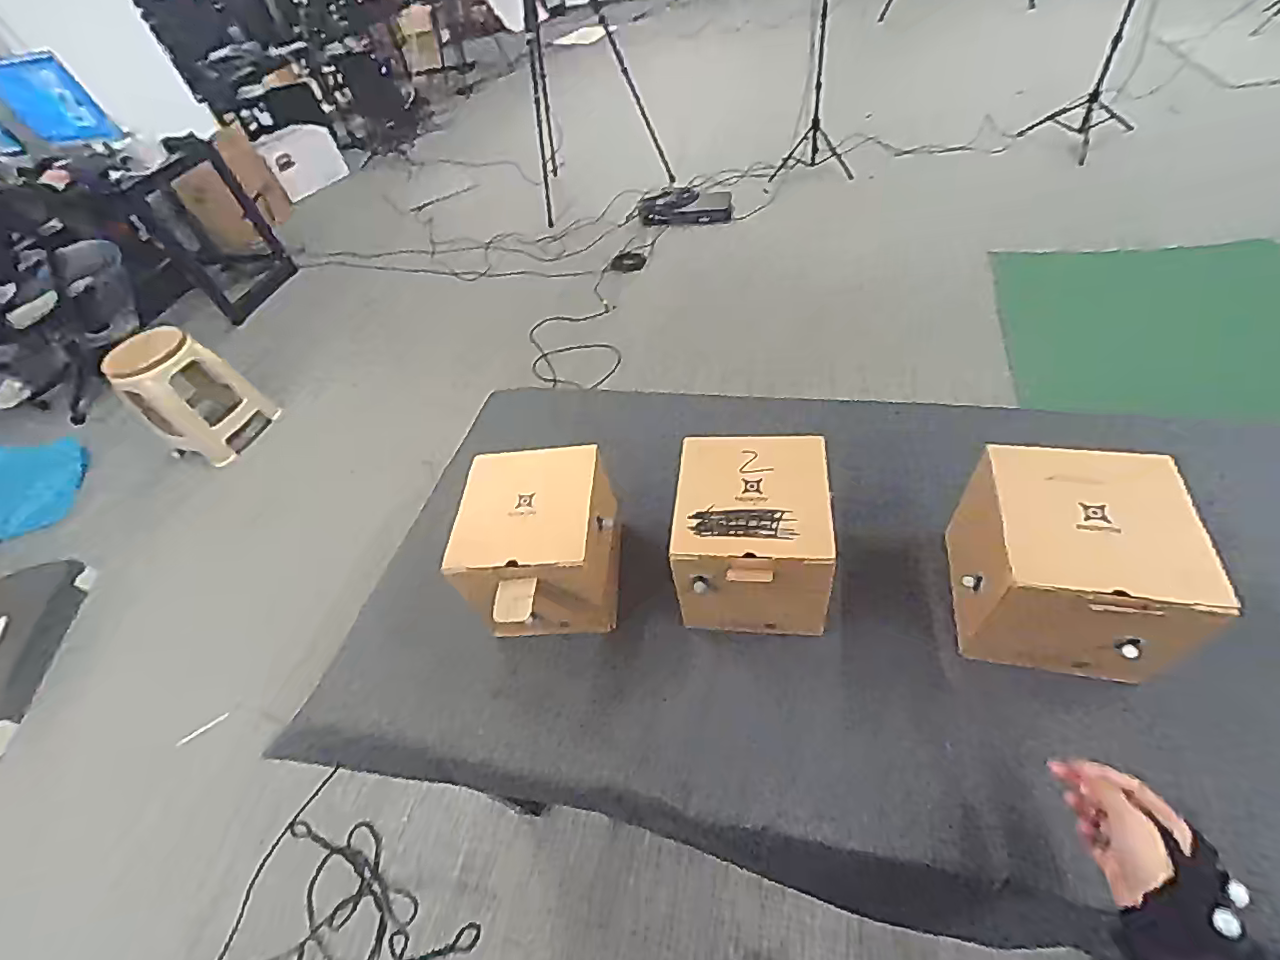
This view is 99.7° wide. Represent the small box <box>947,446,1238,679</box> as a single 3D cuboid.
[{"bbox_3d":[0.443,0.088,0.571,0.168,0.176,0.179,6,50,15],"label":"small box"}]

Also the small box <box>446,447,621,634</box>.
[{"bbox_3d":[-0.120,0.080,0.697,0.168,0.176,0.179,-5,50,8],"label":"small box"}]
